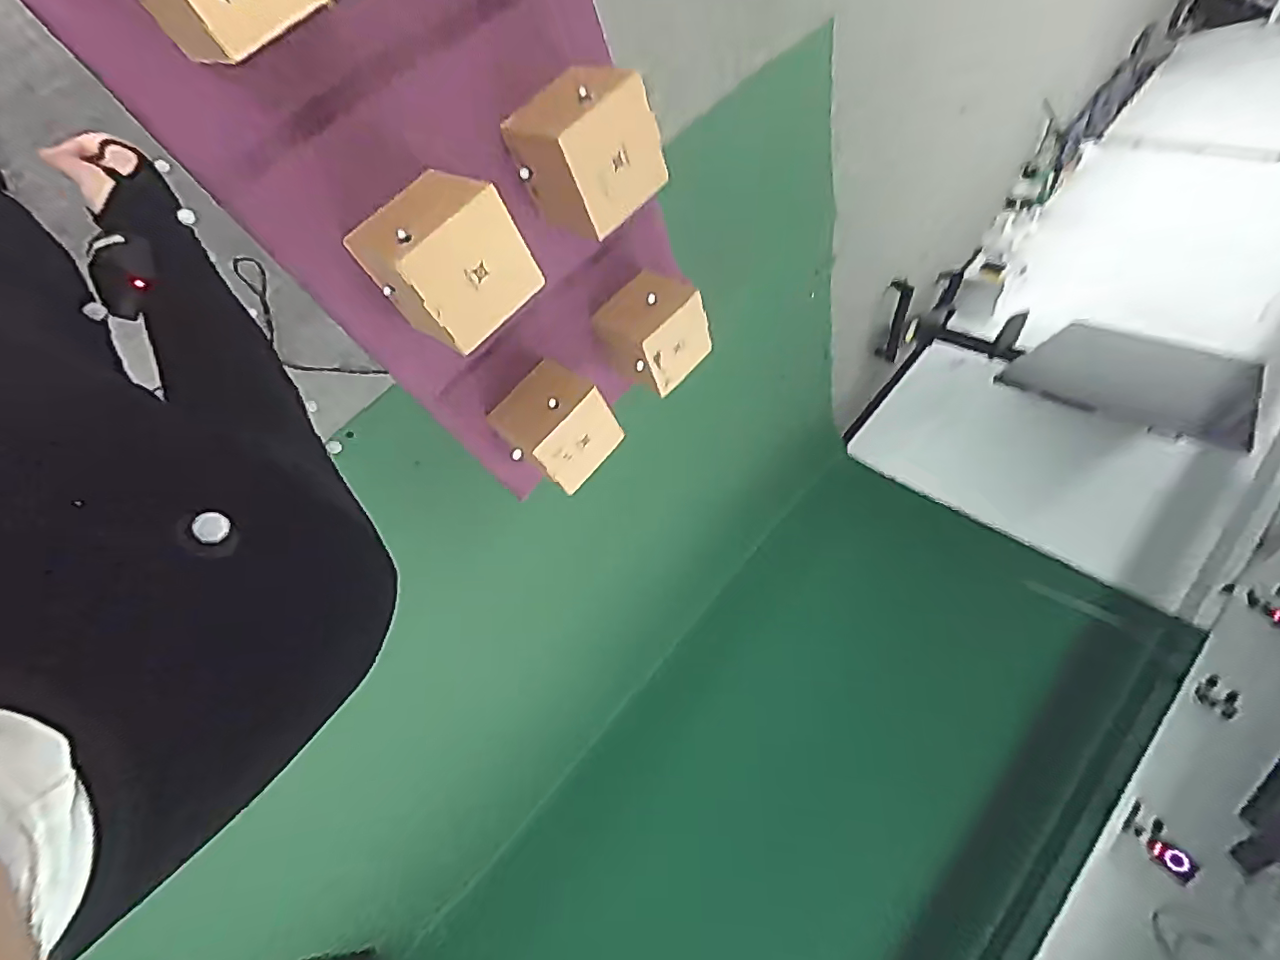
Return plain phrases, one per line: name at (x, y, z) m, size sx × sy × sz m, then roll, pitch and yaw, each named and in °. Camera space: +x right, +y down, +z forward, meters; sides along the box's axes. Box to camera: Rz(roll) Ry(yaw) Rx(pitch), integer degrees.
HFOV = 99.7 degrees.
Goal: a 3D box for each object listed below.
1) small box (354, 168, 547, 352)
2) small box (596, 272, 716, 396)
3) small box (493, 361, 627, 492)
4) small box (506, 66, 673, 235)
small box at (-0.278, -0.329, 0.799) m, size 0.179 × 0.176 × 0.168 m, roll -47°, pitch 145°, yaw -12°
small box at (0.036, -0.323, 1.177) m, size 0.179 × 0.176 × 0.168 m, roll -46°, pitch 144°, yaw -14°
small box at (-0.163, -0.114, 1.107) m, size 0.179 × 0.176 × 0.168 m, roll -47°, pitch 143°, yaw -11°
small box at (-0.079, -0.533, 0.868) m, size 0.179 × 0.176 × 0.168 m, roll -45°, pitch 144°, yaw -12°
